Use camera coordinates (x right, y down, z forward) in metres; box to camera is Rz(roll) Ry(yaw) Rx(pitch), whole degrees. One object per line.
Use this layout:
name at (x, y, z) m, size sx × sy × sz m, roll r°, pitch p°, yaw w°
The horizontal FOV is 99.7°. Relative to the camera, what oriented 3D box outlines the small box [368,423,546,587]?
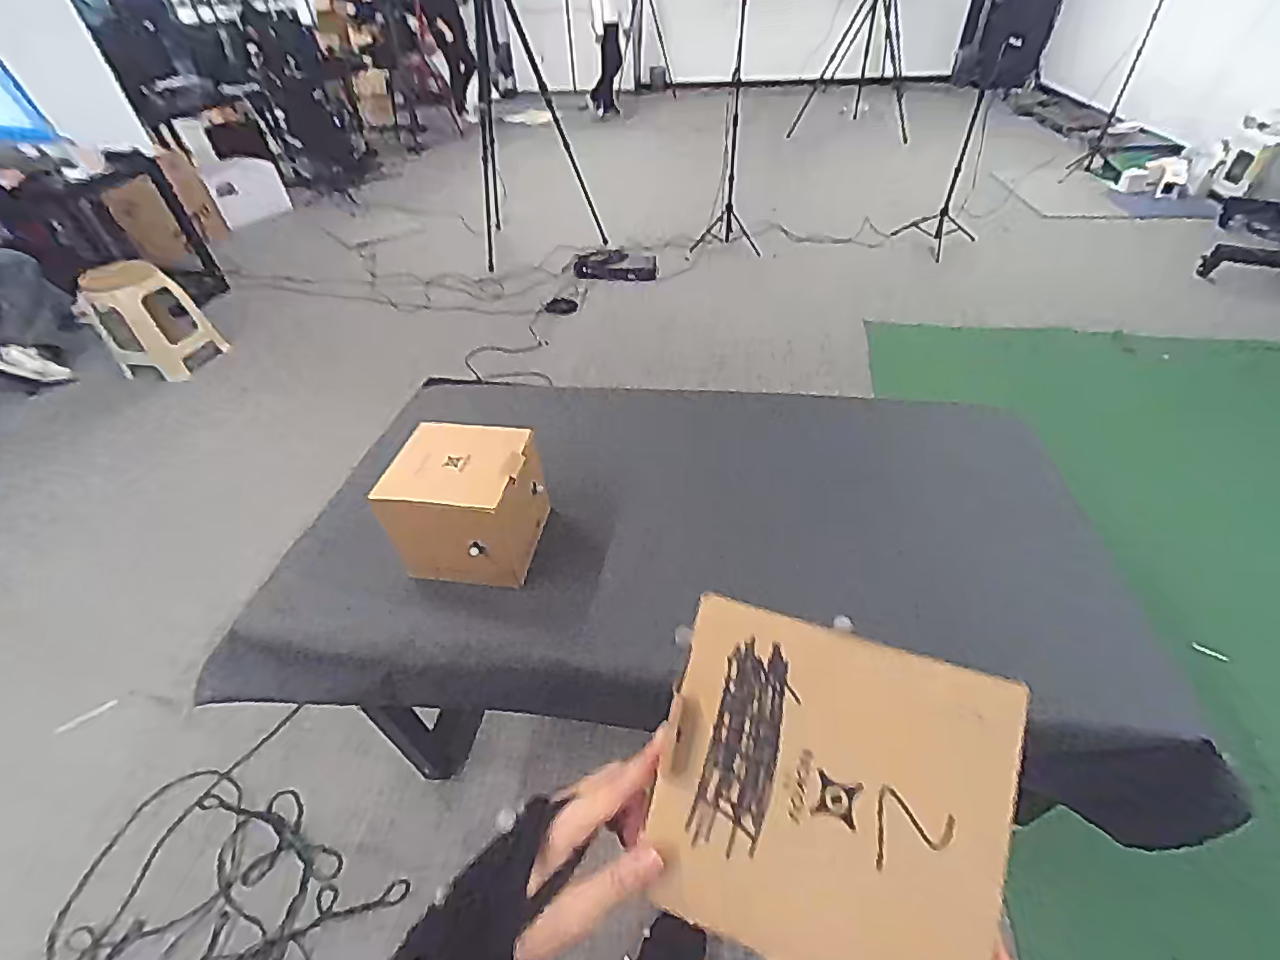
small box at (-0.246, 0.037, 0.785) m, size 0.179 × 0.176 × 0.168 m, roll 3°, pitch 42°, yaw 7°
